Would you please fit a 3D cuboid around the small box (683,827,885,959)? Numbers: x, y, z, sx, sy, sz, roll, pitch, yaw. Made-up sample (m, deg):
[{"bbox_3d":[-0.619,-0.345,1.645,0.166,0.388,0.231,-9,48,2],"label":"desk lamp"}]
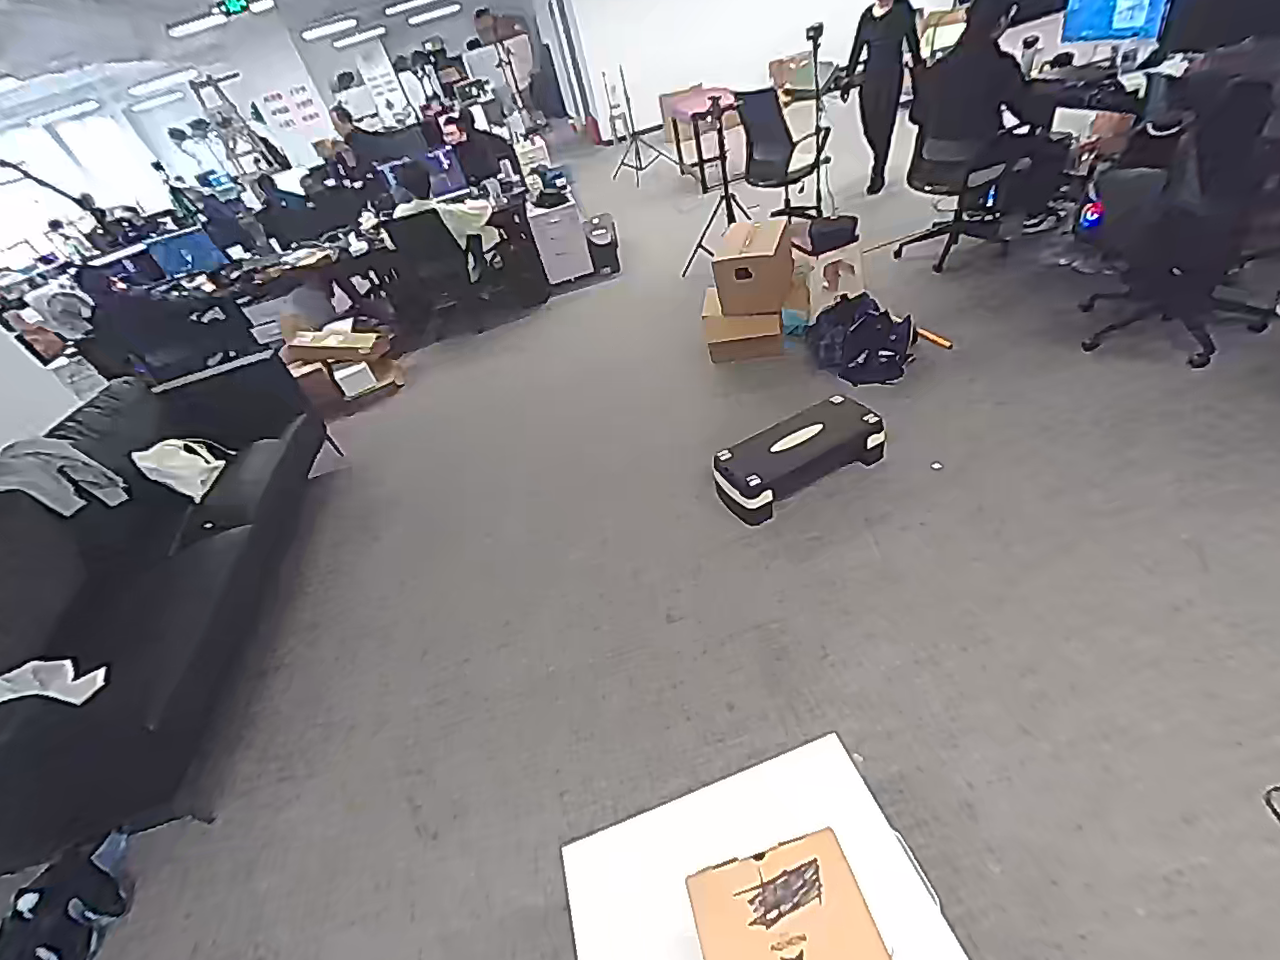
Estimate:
[{"bbox_3d":[0.154,0.501,0.552,0.168,0.176,0.179,-18,38,-2],"label":"small box"}]
